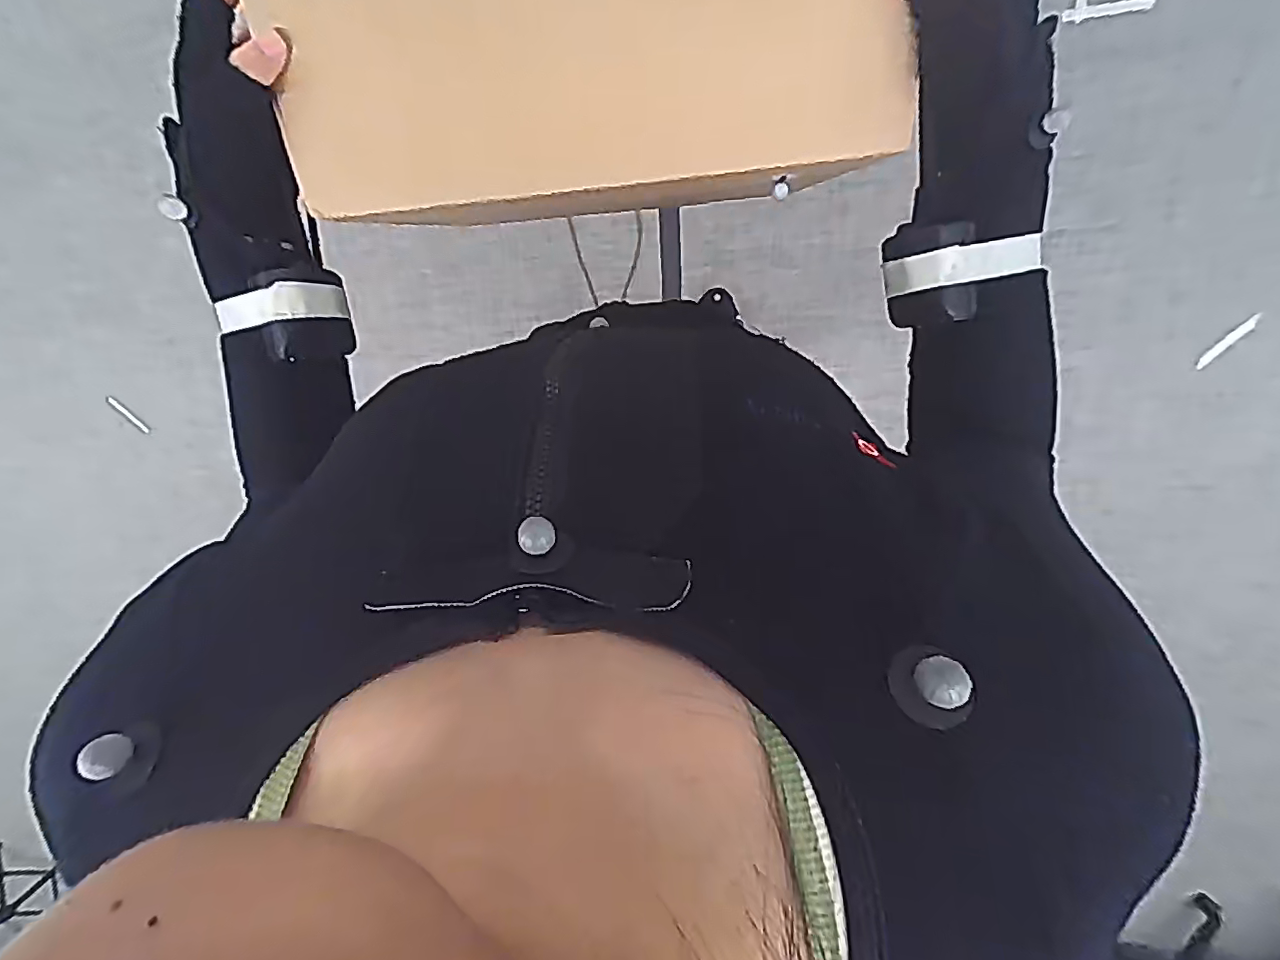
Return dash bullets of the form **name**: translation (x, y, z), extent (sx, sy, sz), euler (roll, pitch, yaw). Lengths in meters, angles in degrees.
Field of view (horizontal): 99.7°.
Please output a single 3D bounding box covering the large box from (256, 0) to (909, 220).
- **large box**: translation (-0.036, -0.403, 0.443), extent (0.408, 0.320, 0.320), euler (-4, 114, 4)
